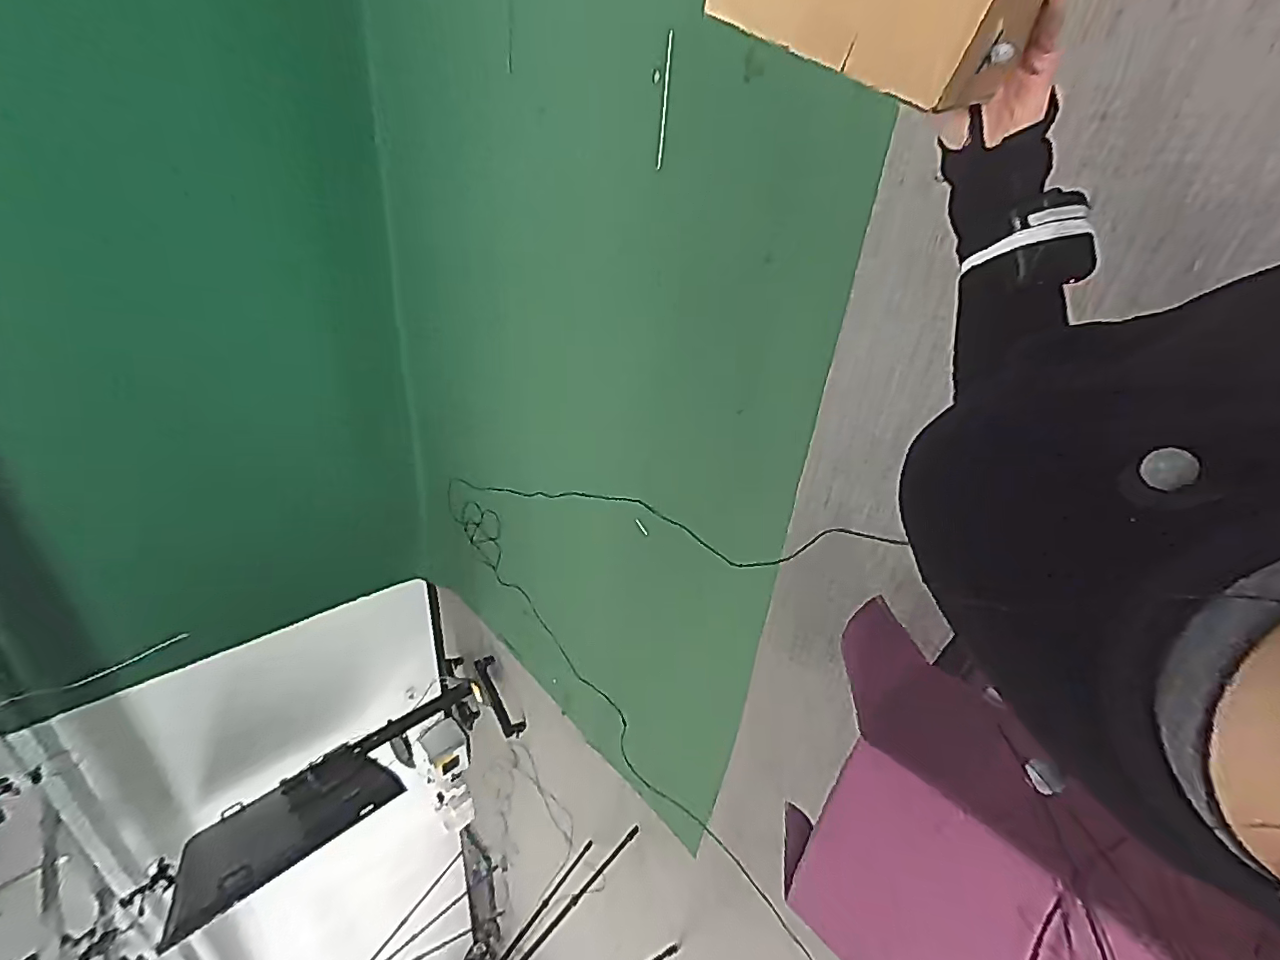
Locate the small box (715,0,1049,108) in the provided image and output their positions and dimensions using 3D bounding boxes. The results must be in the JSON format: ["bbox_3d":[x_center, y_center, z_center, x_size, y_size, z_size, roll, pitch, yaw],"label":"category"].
[{"bbox_3d":[0.180,-0.357,0.323,0.168,0.179,0.176,39,140,17],"label":"small box"}]
